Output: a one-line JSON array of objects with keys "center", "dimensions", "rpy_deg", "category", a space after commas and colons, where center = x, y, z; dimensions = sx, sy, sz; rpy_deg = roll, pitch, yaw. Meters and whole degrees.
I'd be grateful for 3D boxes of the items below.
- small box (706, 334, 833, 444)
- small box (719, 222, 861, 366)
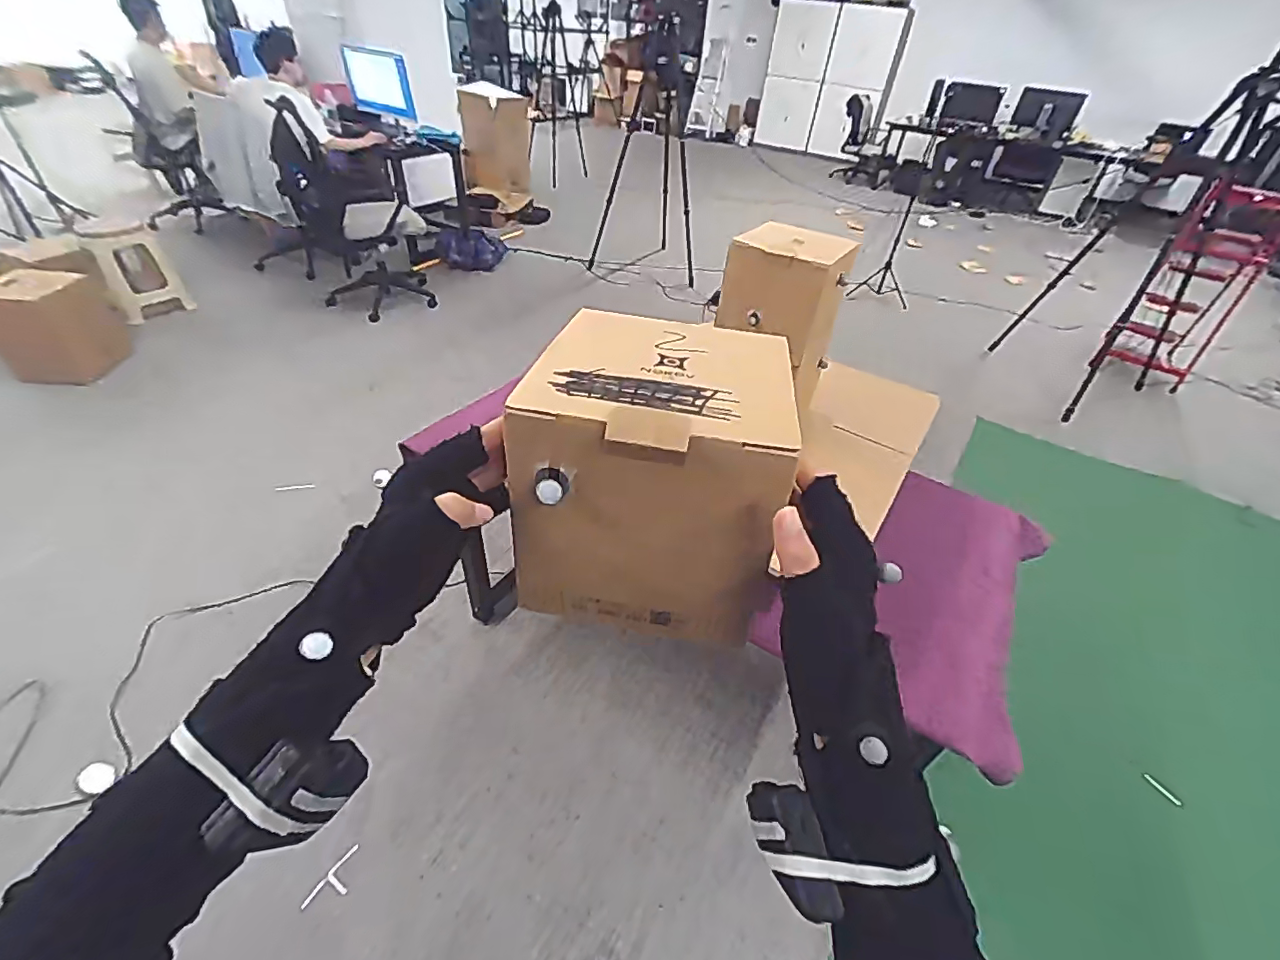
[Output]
[{"center": [0.241, -0.198, 1.036], "dimensions": [0.168, 0.176, 0.179], "rpy_deg": [27, 44, 24], "category": "small box"}, {"center": [0.251, -0.321, 0.928], "dimensions": [0.168, 0.176, 0.179], "rpy_deg": [26, 44, 22], "category": "small box"}]
